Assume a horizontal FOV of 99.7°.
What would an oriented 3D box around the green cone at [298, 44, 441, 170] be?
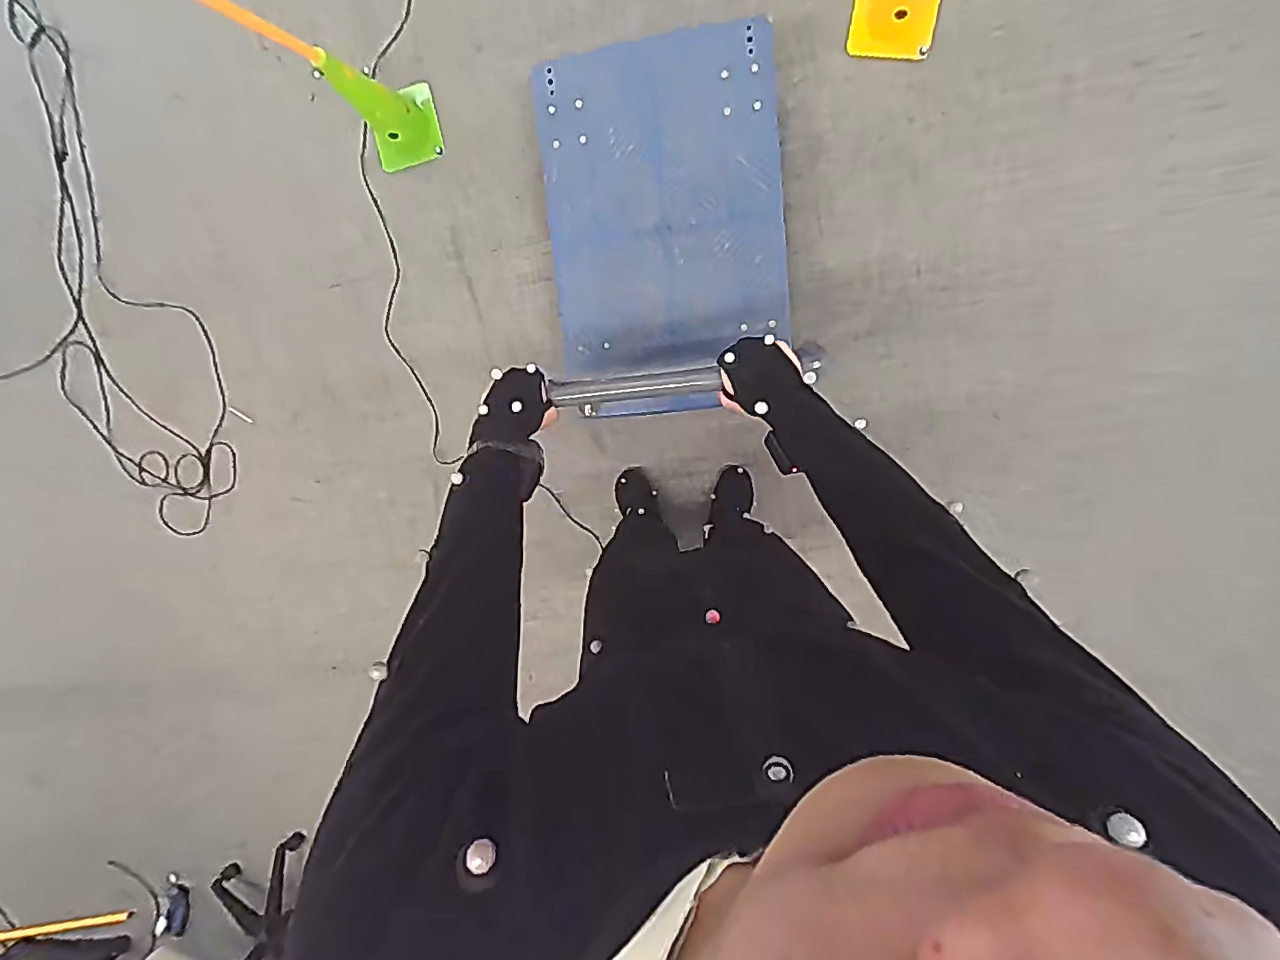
[{"bbox_3d":[-0.705,-0.983,1.372,0.202,0.368,0.200,-11,97,12],"label":"green cone"}]
